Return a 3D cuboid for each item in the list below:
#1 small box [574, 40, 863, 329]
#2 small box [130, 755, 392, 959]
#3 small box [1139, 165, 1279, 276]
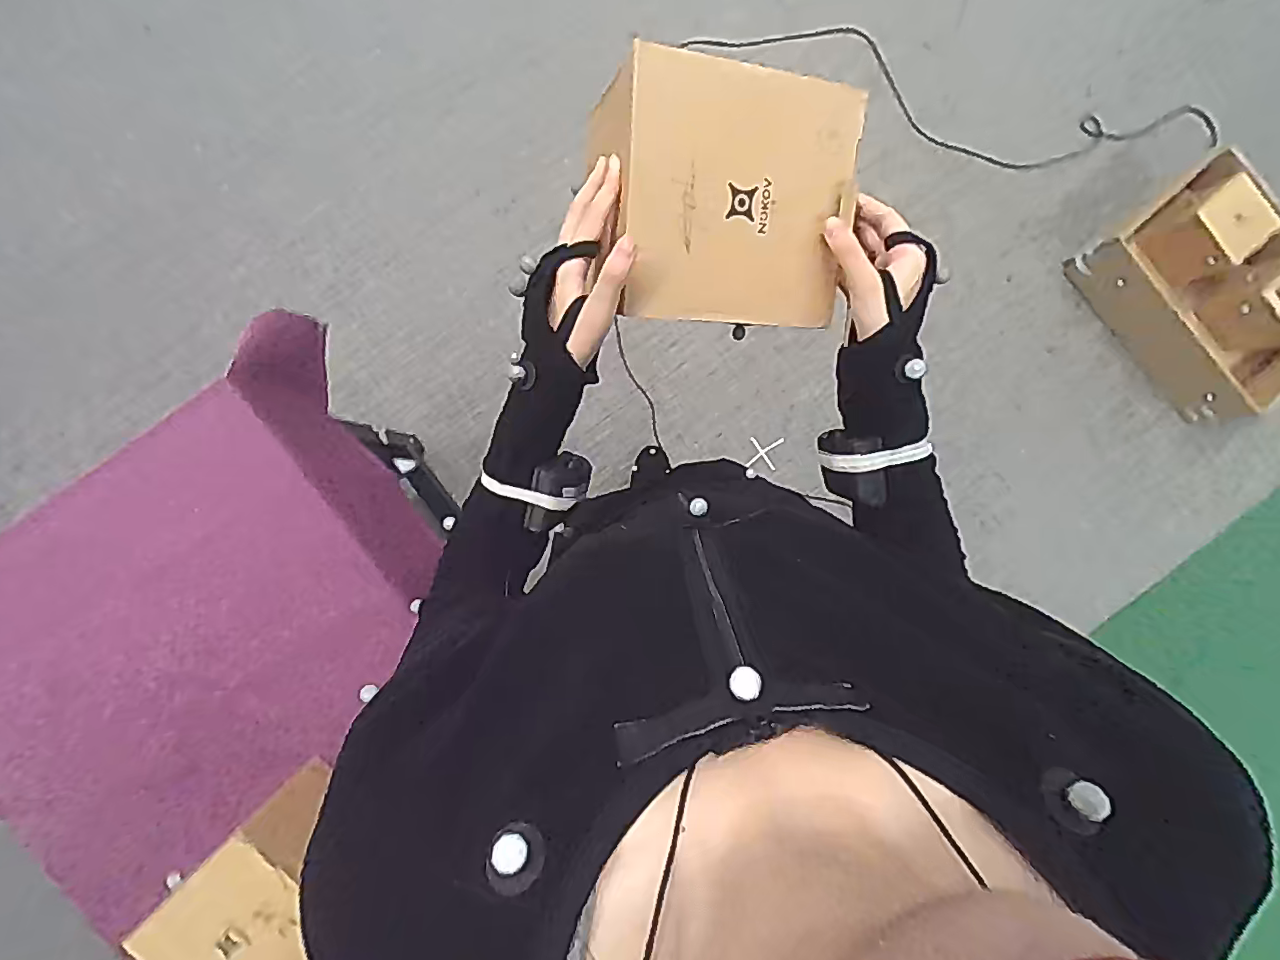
[{"bbox_3d":[0.048,-0.226,0.460,0.179,0.176,0.168,0,108,-17],"label":"small box"},{"bbox_3d":[-0.458,0.502,0.688,0.179,0.176,0.168,-44,93,-2],"label":"small box"},{"bbox_3d":[1.508,-0.681,1.443,0.168,0.176,0.179,-41,94,0],"label":"small box"}]
